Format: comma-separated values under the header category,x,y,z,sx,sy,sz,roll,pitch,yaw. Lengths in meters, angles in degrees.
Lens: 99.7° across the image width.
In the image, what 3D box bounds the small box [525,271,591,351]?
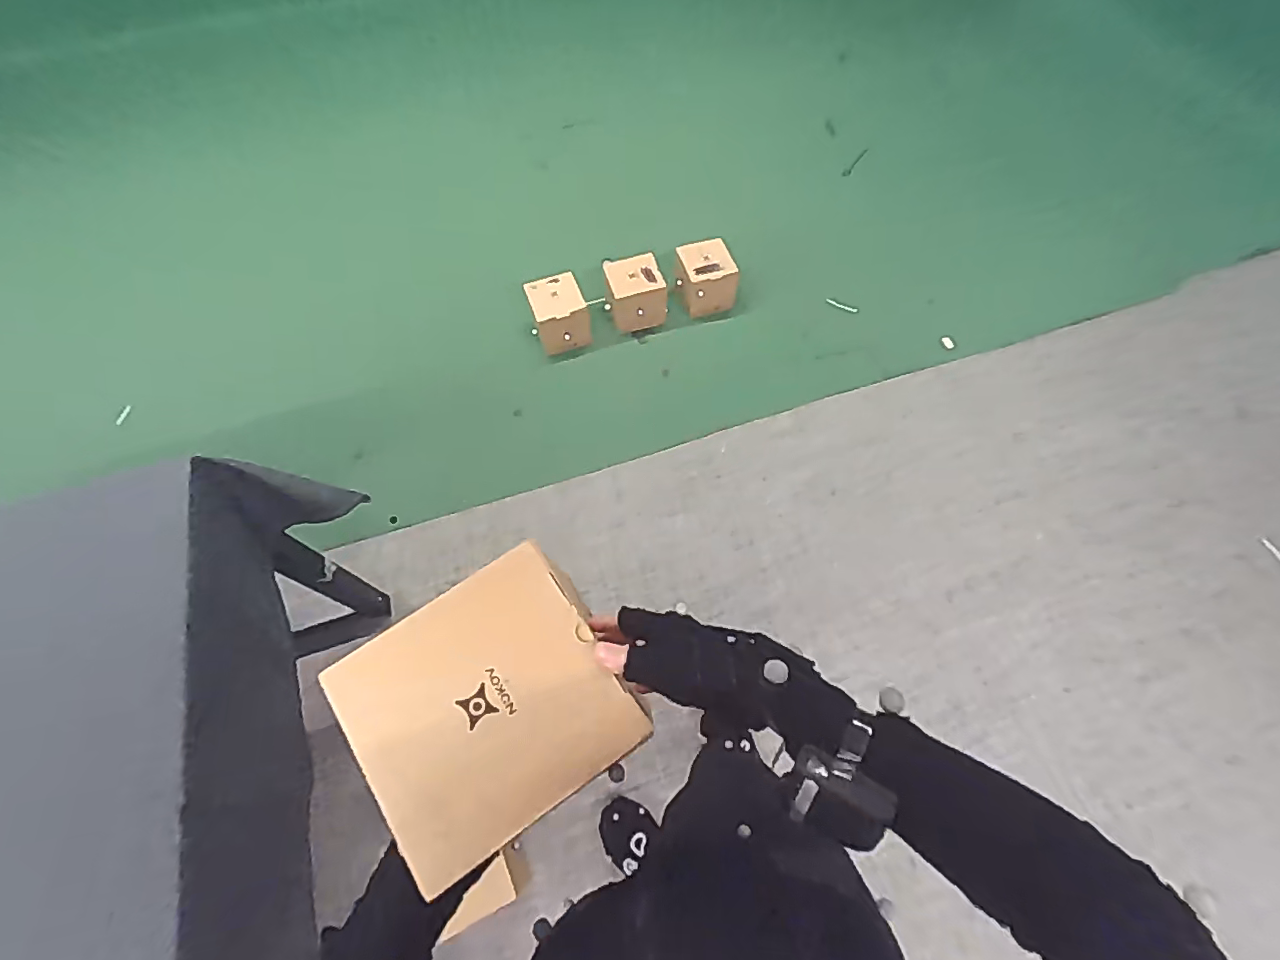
category,x,y,z,sx,sy,sz,roll,pitch,yaw
small box,-0.266,-0.547,1.783,0.168,0.176,0.179,-18,66,-8

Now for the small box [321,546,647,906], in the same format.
category,x,y,z,sx,sy,sz,roll,pitch,yaw
small box,-0.108,0.183,0.445,0.179,0.176,0.168,-33,75,-11
